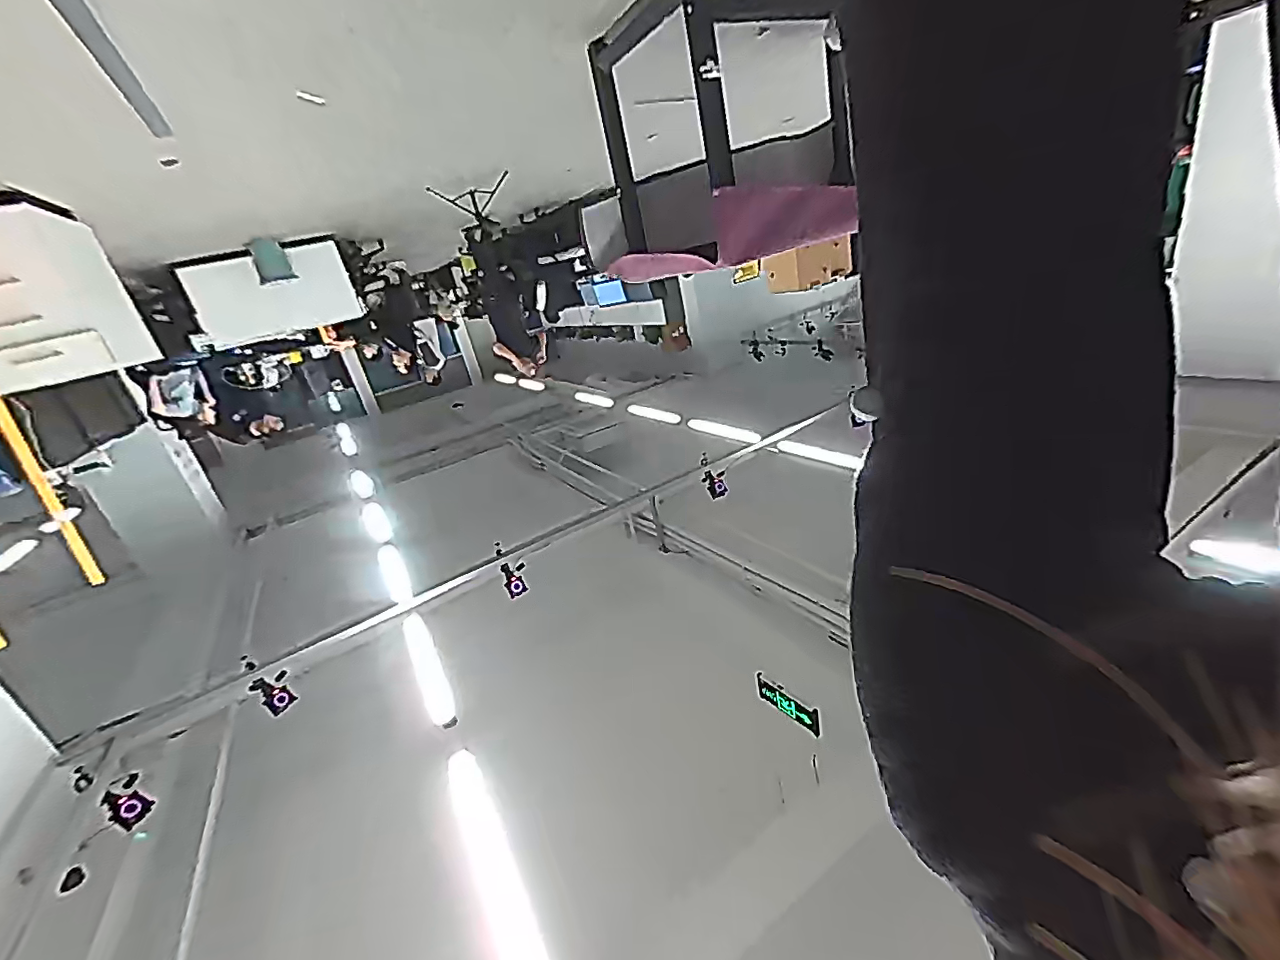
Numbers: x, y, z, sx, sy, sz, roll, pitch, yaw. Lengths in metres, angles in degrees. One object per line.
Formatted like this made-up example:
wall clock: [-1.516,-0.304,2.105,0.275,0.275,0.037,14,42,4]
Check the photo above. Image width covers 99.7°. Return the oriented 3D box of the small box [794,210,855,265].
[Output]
small box: [0.741,-0.978,2.182,0.168,0.176,0.179,-25,-155,-22]
